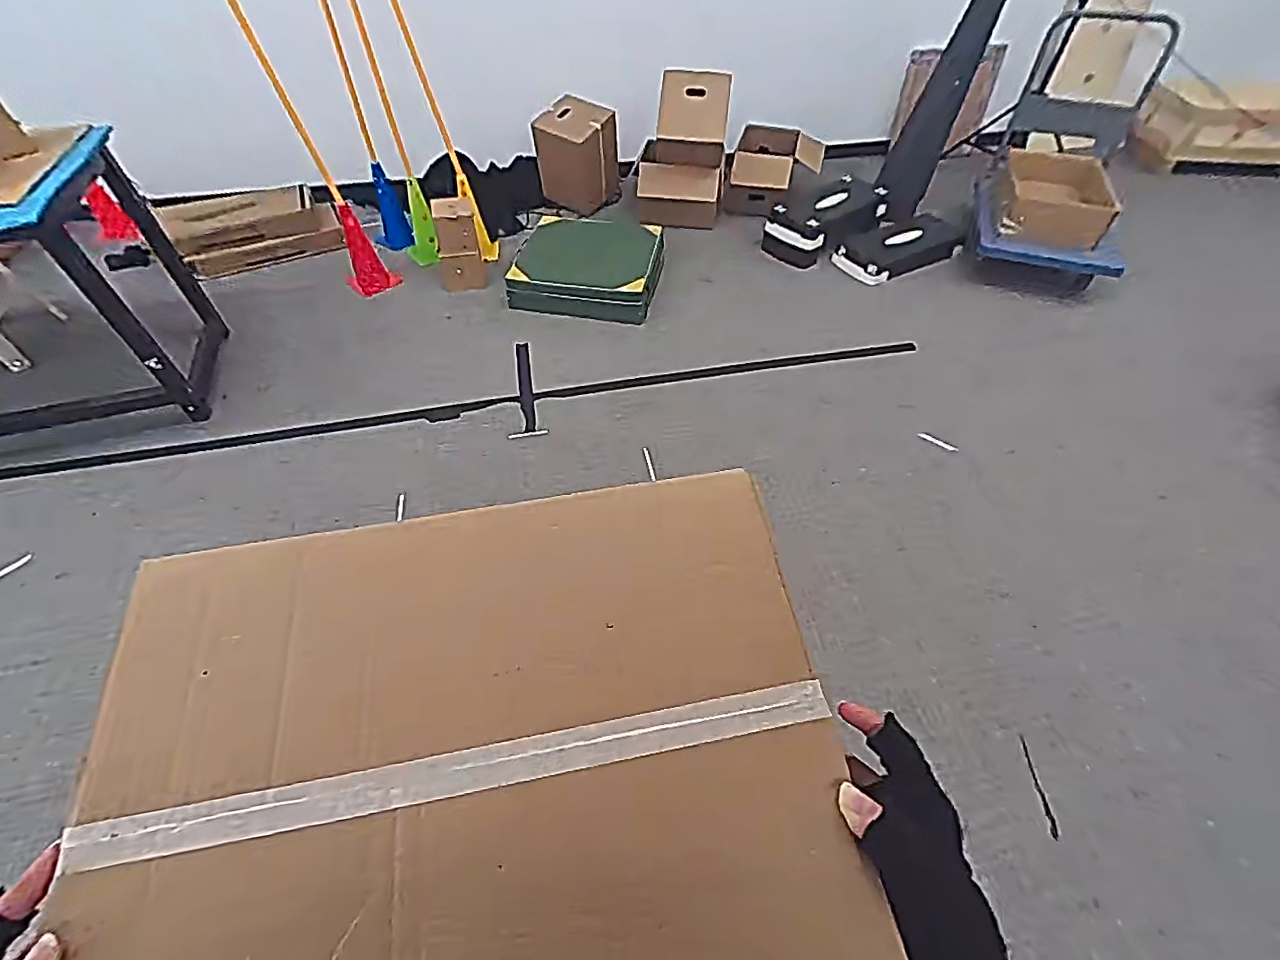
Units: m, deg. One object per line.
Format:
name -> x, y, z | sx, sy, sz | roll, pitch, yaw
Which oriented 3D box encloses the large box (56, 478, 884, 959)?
large box -> -0.097, 0.231, 0.438 | 0.408, 0.320, 0.320 | -9, 61, -5
